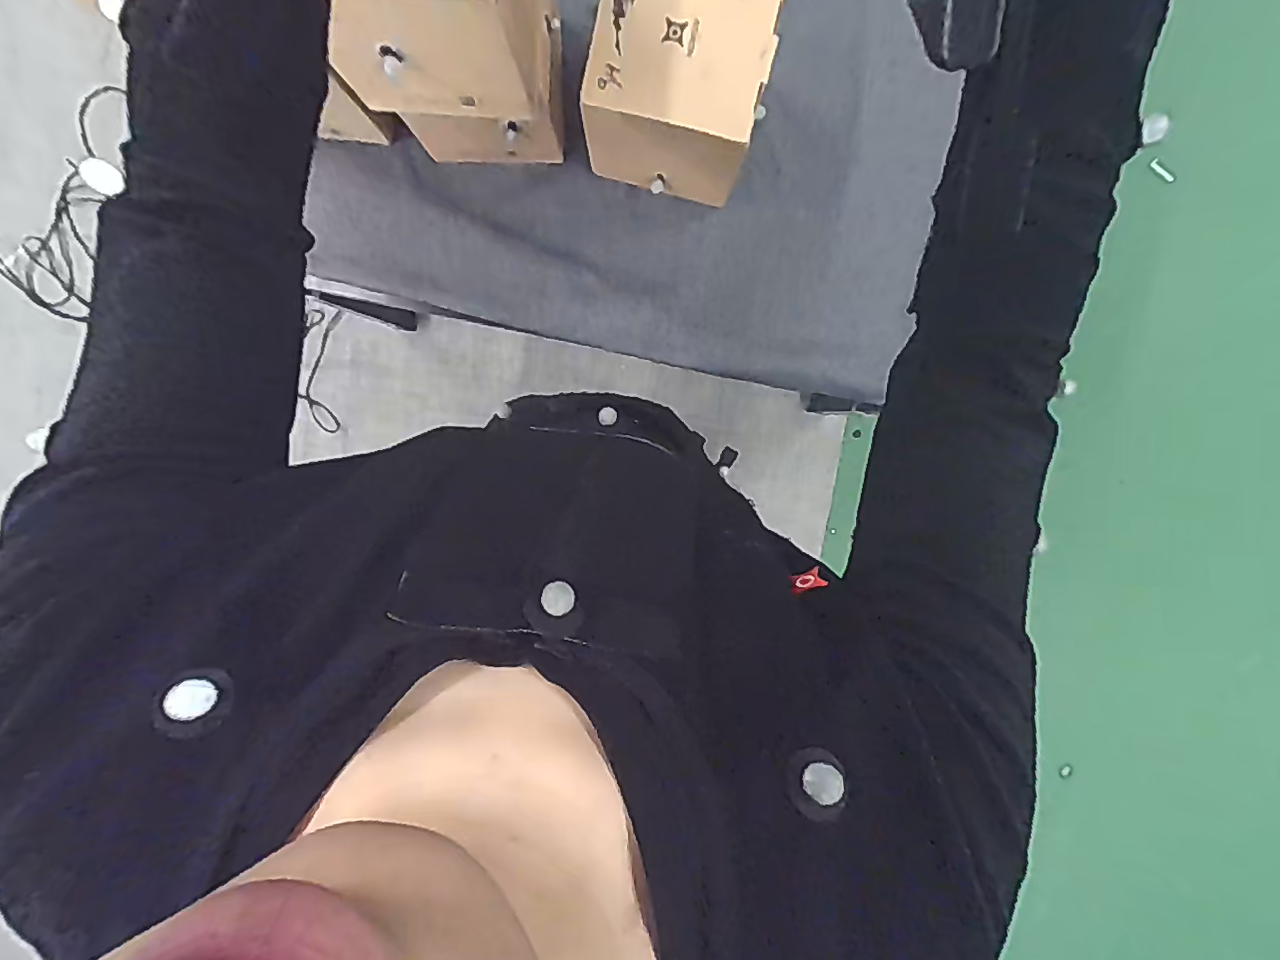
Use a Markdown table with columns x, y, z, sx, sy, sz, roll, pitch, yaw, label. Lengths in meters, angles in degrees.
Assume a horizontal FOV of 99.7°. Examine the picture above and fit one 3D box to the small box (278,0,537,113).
| x | y | z | sx | sy | sz | roll | pitch | yaw | label |
| --- | --- | --- | --- | --- | --- | --- | --- | --- | --- |
| -0.178 | -0.435 | 0.440 | 0.168 | 0.176 | 0.179 | 2 | 97 | -2 | small box |
